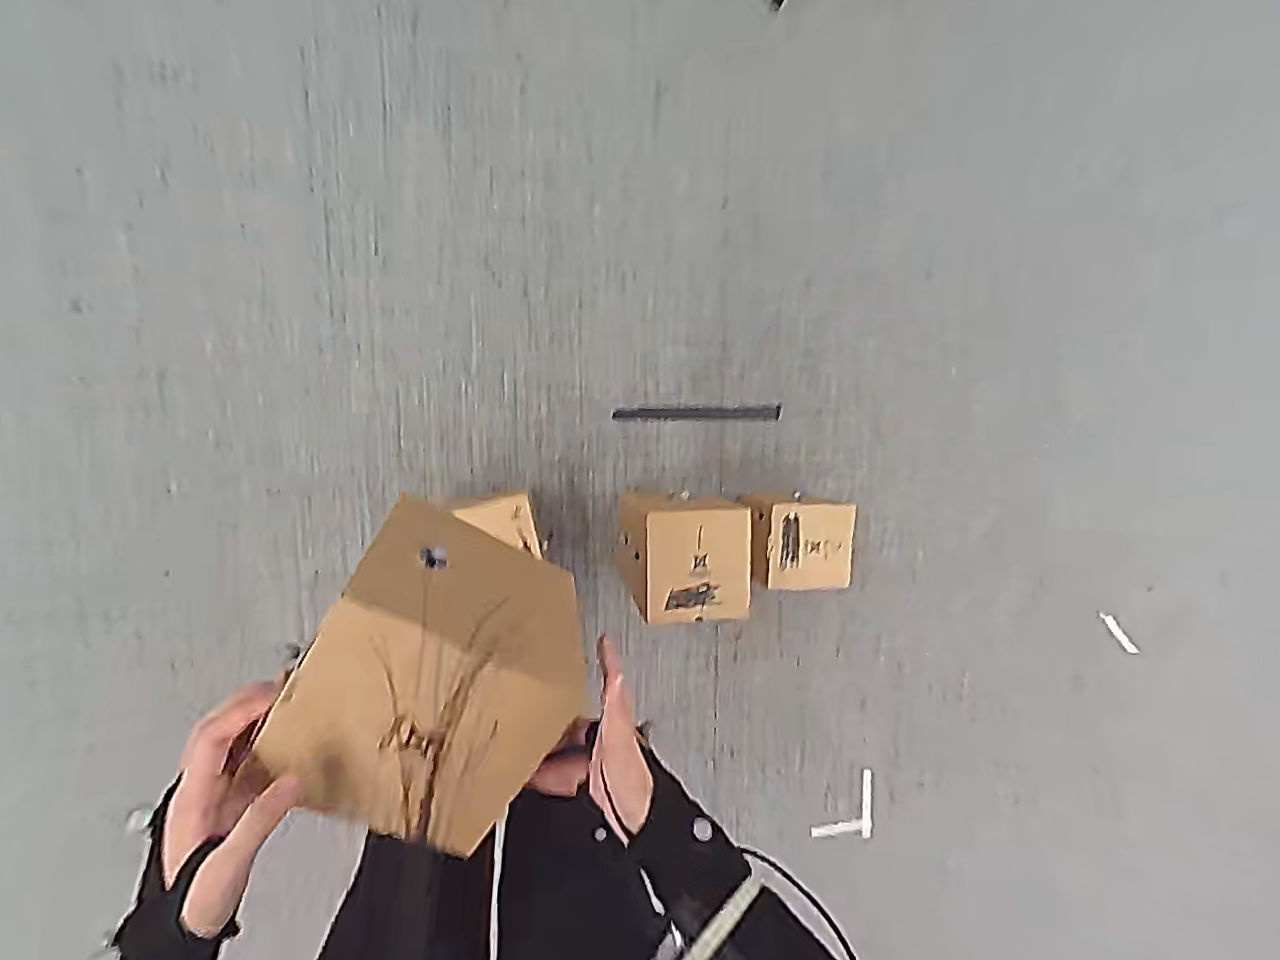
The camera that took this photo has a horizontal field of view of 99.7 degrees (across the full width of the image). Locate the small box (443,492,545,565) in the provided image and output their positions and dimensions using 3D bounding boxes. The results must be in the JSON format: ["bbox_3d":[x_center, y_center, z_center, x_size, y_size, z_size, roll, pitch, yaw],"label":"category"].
[{"bbox_3d":[-0.278,0.124,1.008,0.179,0.176,0.168,-13,98,-8],"label":"small box"}]

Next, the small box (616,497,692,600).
[{"bbox_3d":[0.046,0.129,1.066,0.168,0.176,0.179,2,95,-10],"label":"small box"}]

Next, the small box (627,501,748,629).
[{"bbox_3d":[0.072,0.134,0.903,0.168,0.176,0.179,-1,94,-10],"label":"small box"}]

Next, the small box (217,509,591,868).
[{"bbox_3d":[-0.159,0.144,0.418,0.179,0.176,0.168,32,104,-20],"label":"small box"}]
